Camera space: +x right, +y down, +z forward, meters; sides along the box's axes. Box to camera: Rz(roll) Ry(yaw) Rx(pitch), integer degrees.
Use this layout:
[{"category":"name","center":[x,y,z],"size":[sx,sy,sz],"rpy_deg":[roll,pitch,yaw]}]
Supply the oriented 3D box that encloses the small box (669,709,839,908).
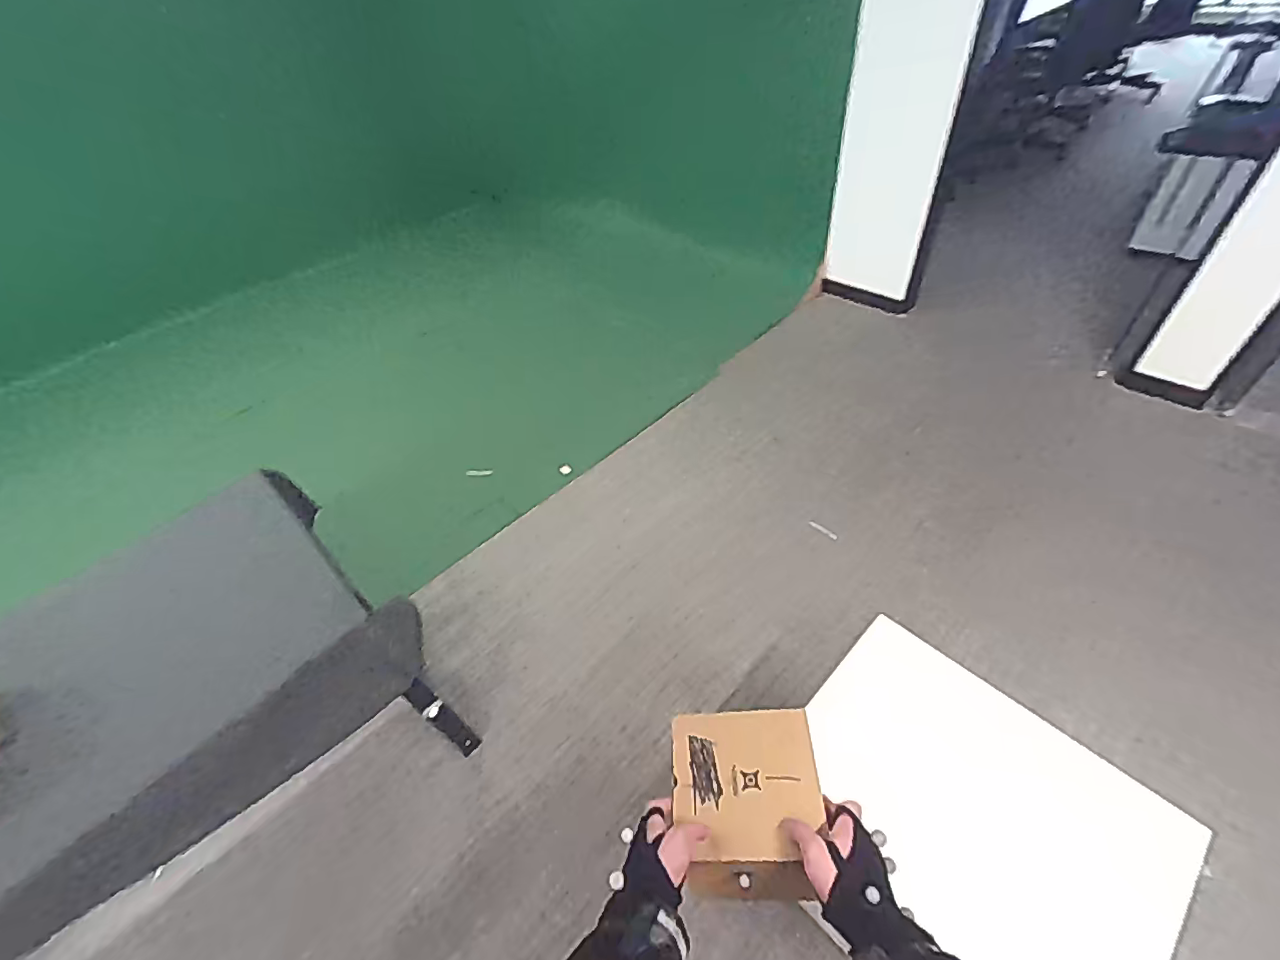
[{"category":"small box","center":[0.134,0.407,0.668],"size":[0.179,0.176,0.168],"rpy_deg":[-7,39,7]}]
